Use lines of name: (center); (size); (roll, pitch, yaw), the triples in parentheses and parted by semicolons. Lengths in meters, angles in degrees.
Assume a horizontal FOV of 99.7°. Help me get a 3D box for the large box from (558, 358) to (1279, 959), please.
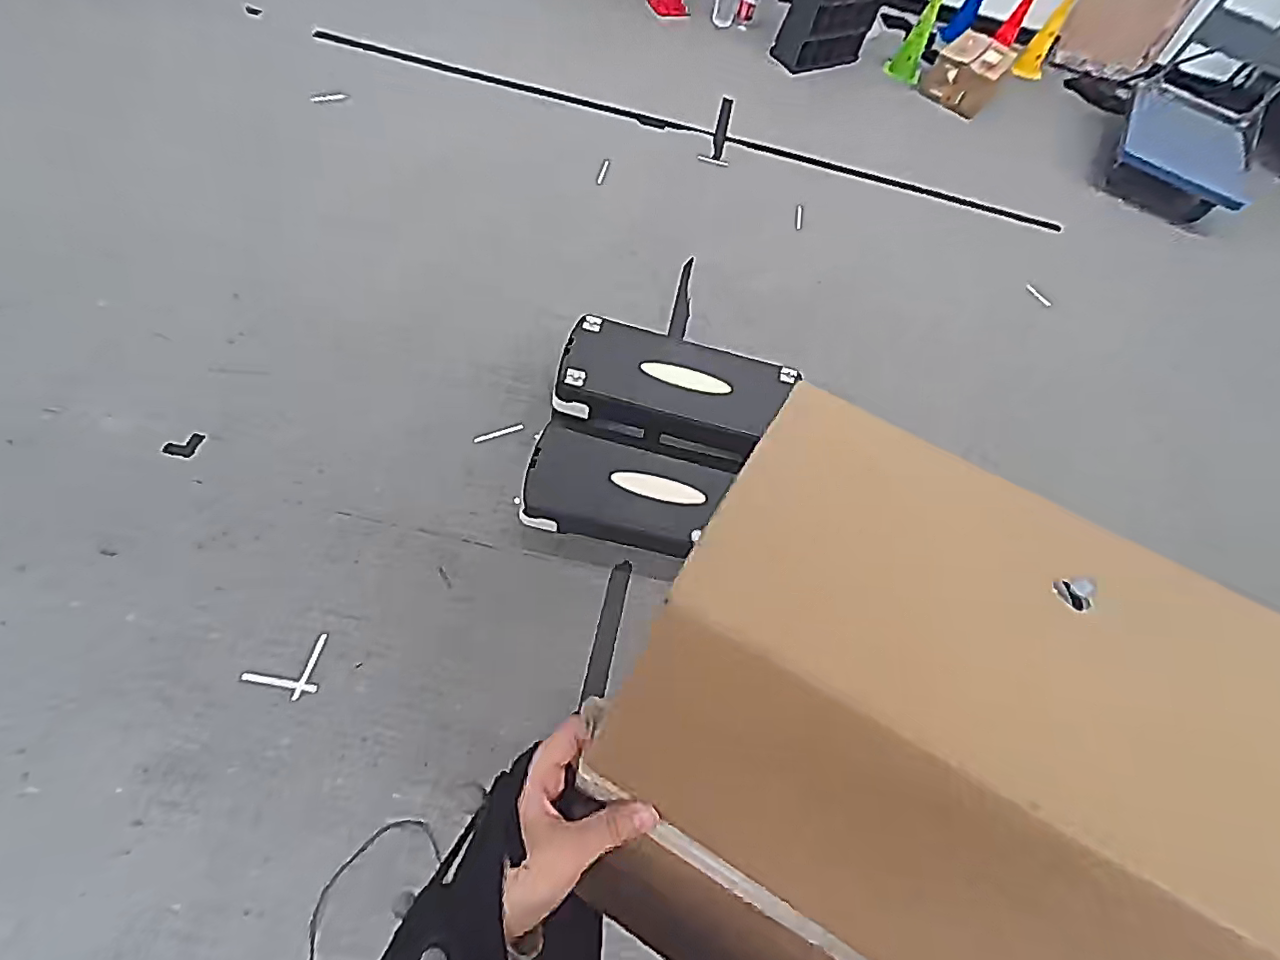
large box: (0.211, 0.159, 0.392); (0.408, 0.320, 0.320); (28, 36, 10)

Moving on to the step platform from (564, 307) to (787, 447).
step platform: (0.138, -0.236, 1.513); (0.684, 0.204, 0.286); (19, 60, 0)
